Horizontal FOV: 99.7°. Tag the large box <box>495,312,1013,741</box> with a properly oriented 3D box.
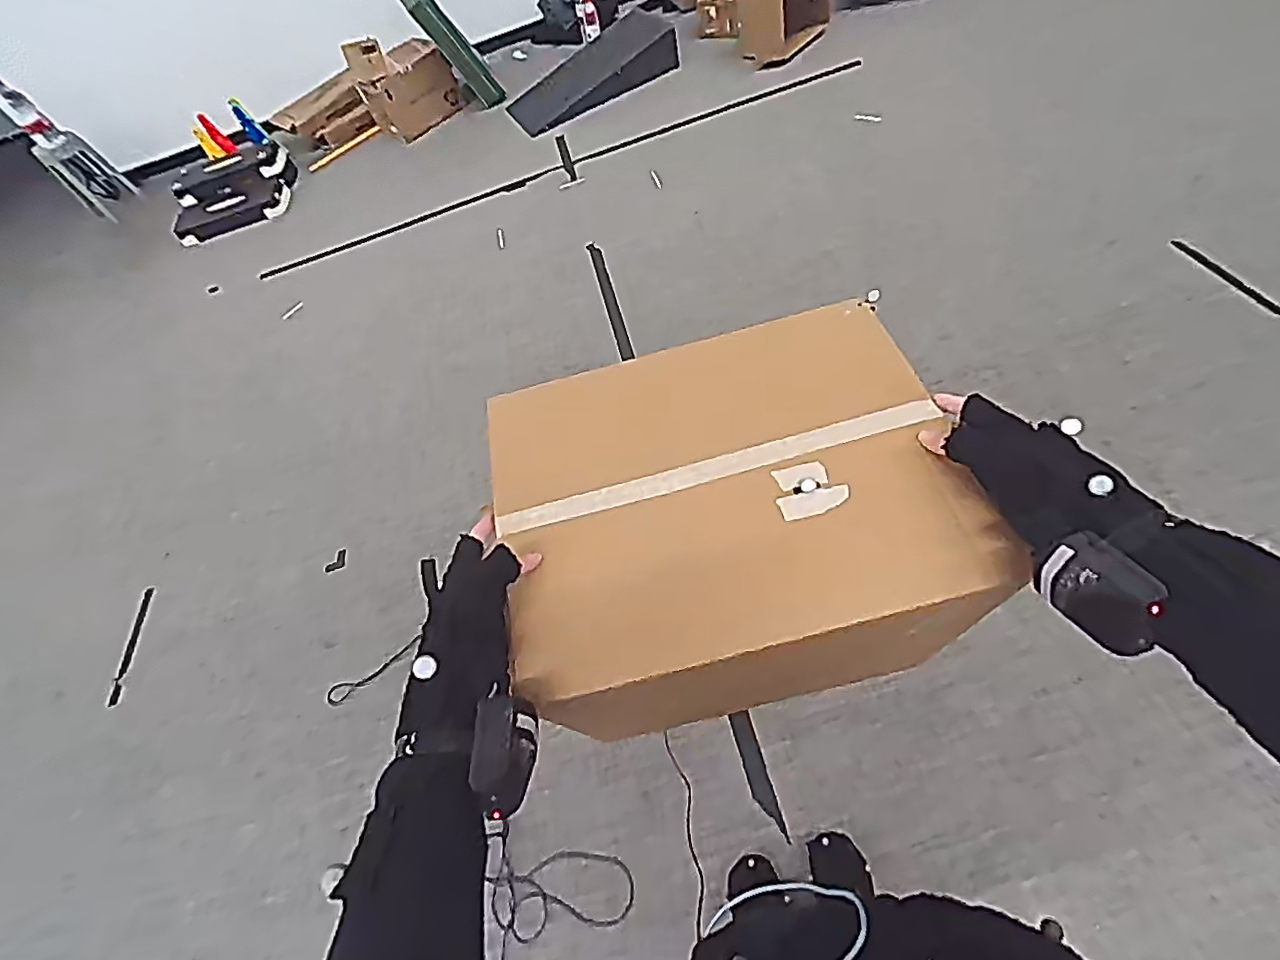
[{"bbox_3d":[0.089,0.073,0.623,0.408,0.320,0.320,-15,59,0],"label":"large box"}]
